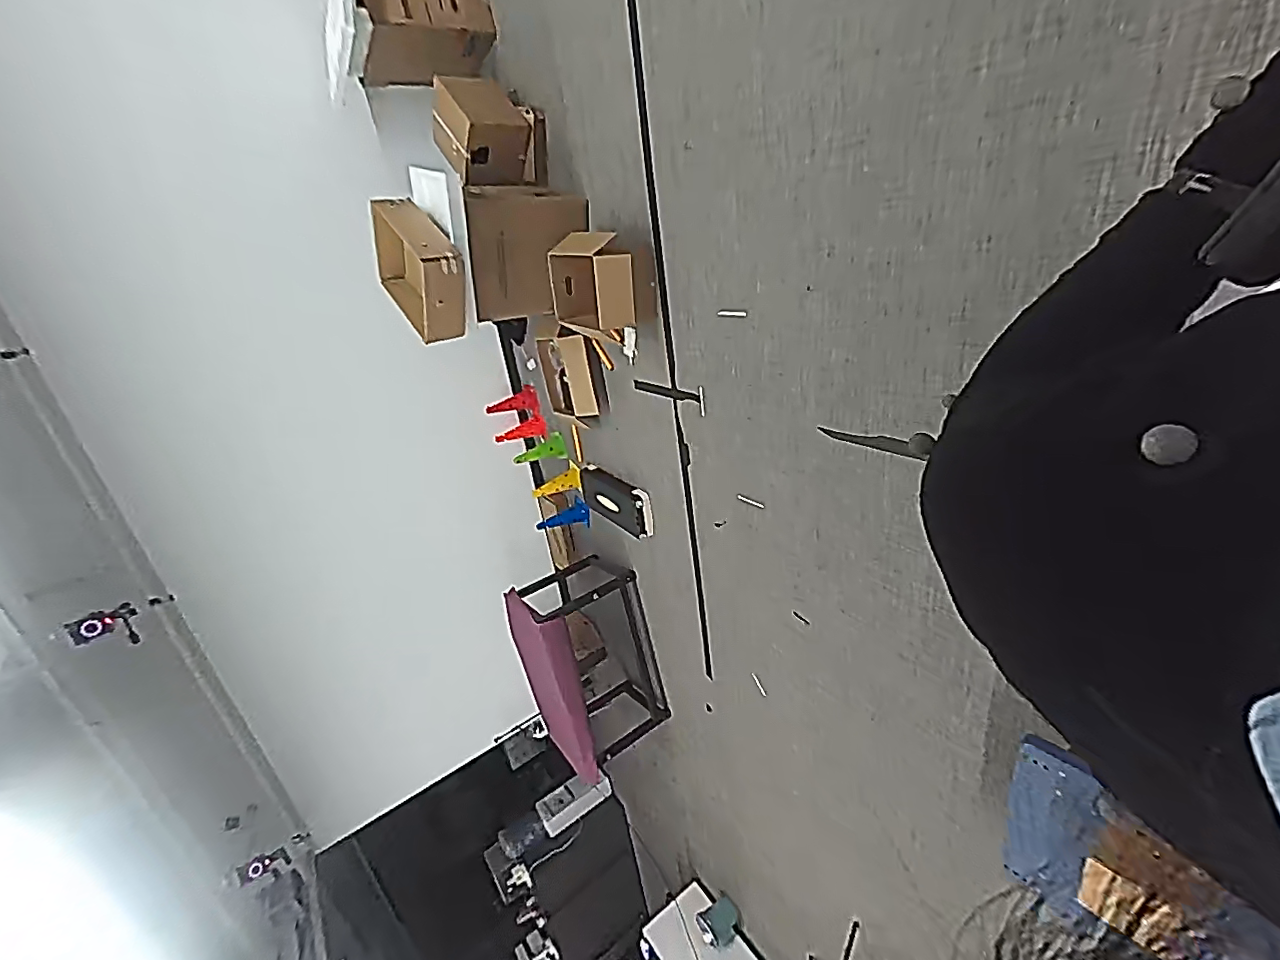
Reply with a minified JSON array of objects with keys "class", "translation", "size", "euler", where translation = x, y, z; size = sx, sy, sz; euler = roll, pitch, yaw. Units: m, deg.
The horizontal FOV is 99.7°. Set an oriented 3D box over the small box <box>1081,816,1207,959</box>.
[{"class":"small box","translation":[1.176,0.946,1.264],"size":[0.168,0.176,0.179],"euler":[22,128,52]}]
